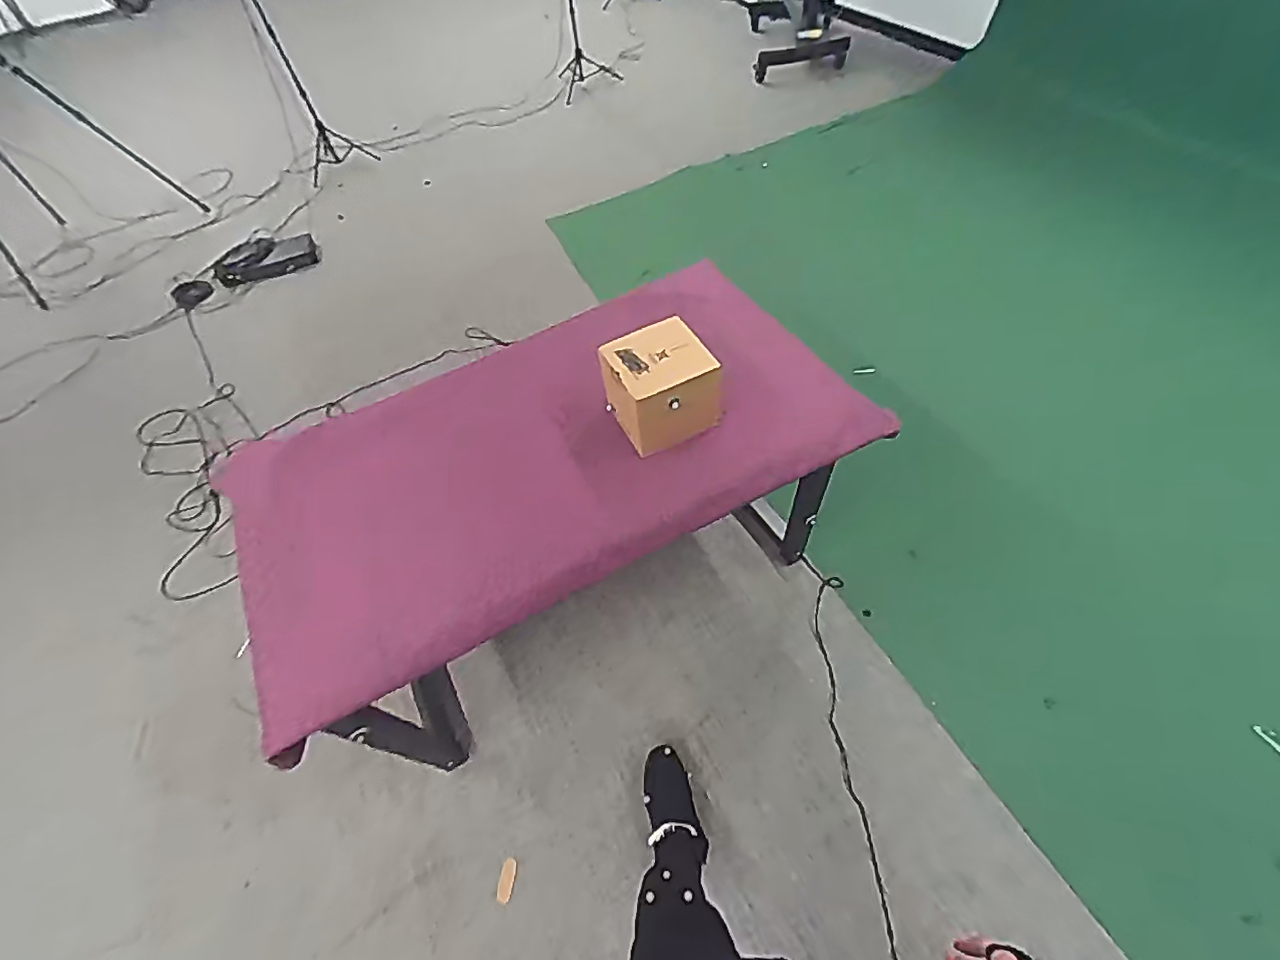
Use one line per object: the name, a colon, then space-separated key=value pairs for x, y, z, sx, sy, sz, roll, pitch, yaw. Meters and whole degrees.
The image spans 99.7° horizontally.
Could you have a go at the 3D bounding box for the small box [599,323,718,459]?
small box: x=0.039 y=-0.170 z=1.064 sx=0.179 sy=0.176 sz=0.168 roll=-24 pitch=57 yaw=-11
